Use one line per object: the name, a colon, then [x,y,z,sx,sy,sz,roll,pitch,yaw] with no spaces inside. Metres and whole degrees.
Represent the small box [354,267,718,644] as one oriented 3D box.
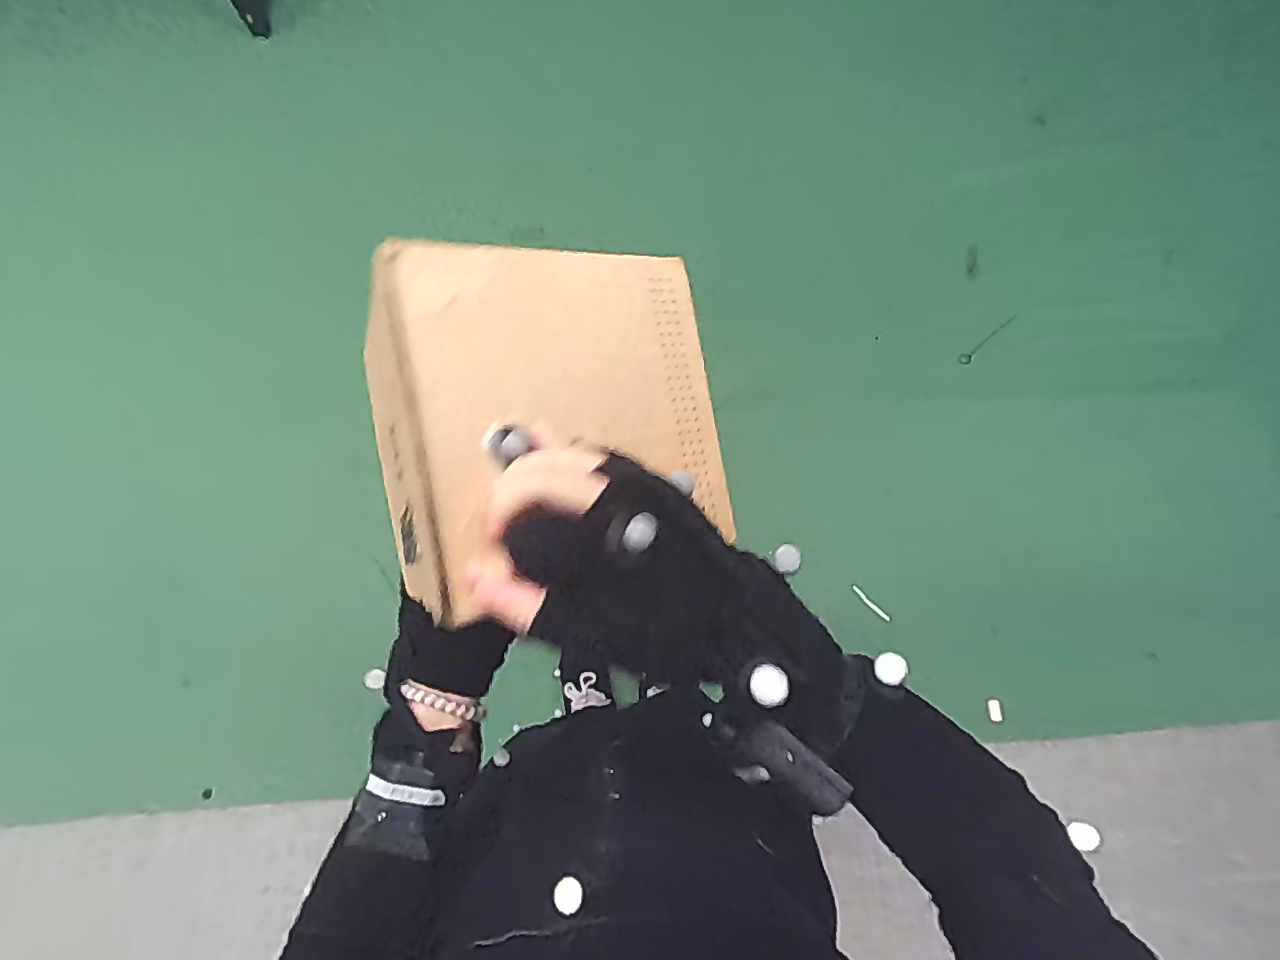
small box: [-0.069,-0.021,0.347,0.176,0.168,0.179,-13,91,-27]
